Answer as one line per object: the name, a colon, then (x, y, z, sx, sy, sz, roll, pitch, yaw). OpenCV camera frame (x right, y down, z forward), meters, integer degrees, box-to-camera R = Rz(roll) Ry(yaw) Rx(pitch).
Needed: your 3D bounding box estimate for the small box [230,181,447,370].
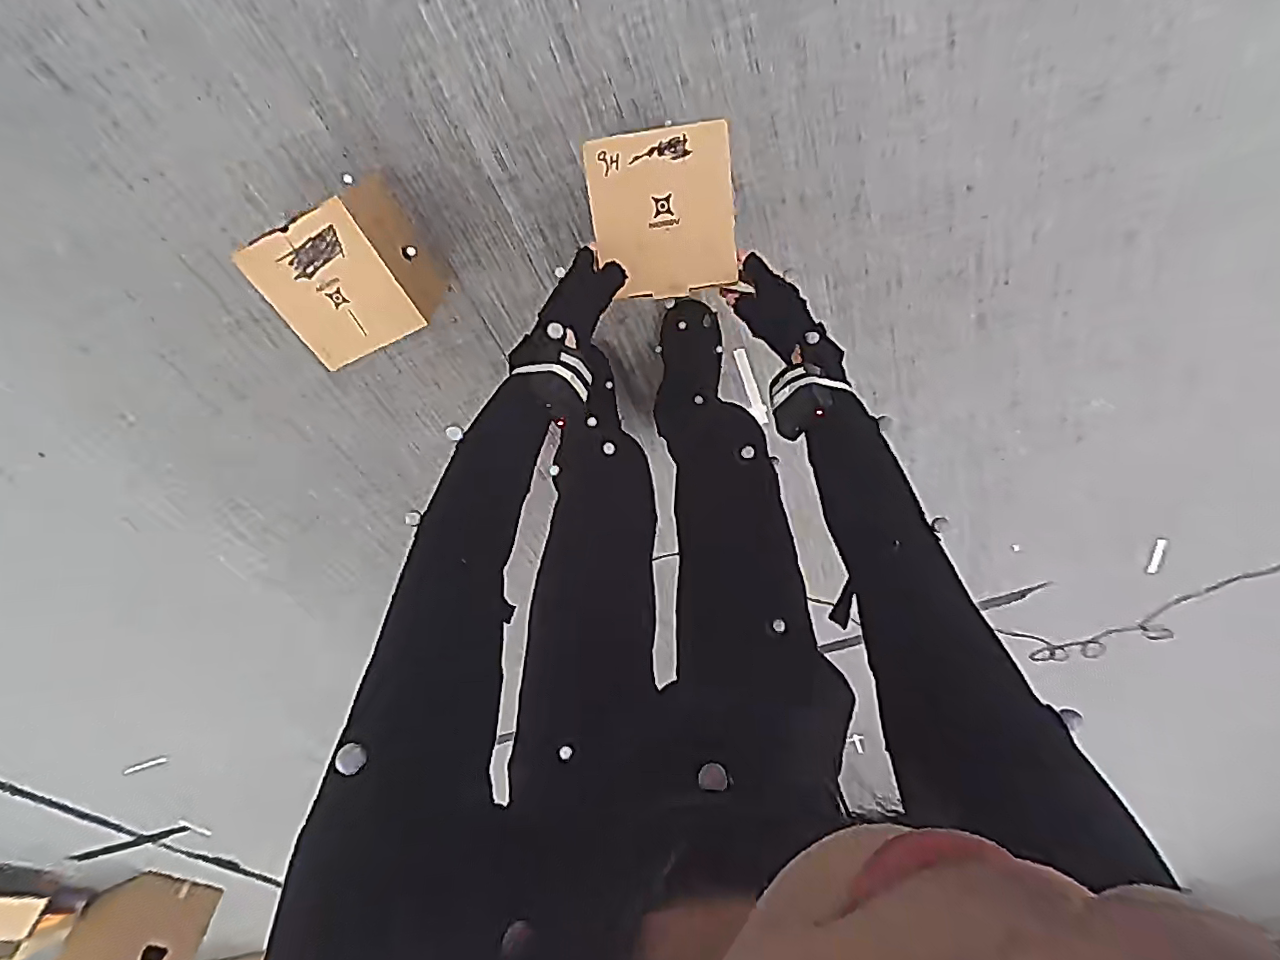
small box: (-0.396, -0.289, 0.748, 0.168, 0.176, 0.179, -21, 128, 10)

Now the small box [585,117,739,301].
small box: (0.031, -0.332, 0.695, 0.168, 0.176, 0.179, -7, 108, 3)
